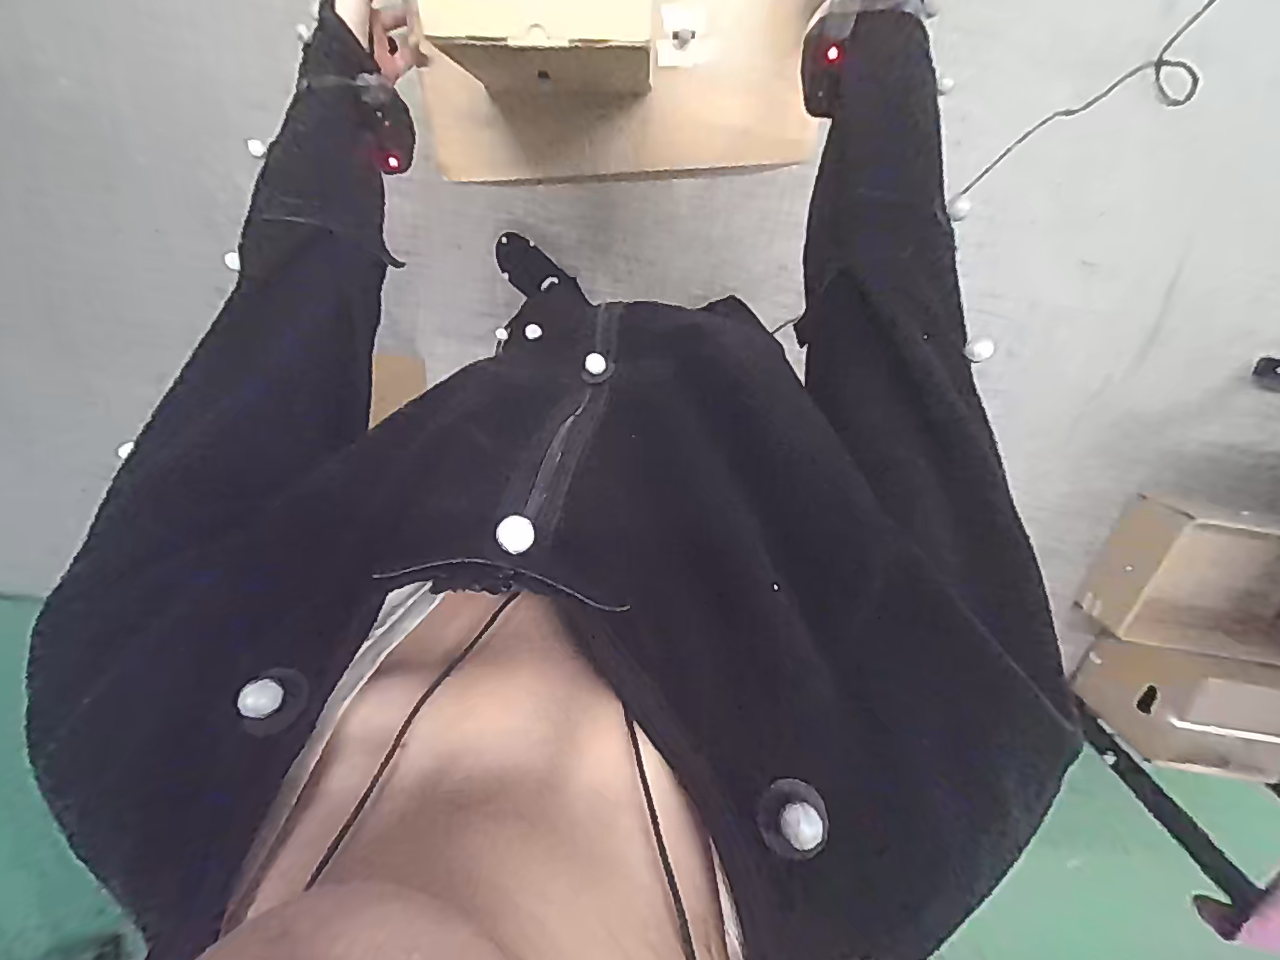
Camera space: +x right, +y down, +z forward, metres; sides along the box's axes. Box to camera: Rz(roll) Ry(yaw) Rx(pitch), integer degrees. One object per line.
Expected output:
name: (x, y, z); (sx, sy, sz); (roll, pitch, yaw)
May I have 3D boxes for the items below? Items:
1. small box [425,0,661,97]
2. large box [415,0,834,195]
small box: (-0.065, -0.420, 0.418); (0.168, 0.176, 0.179); (2, 117, 0)
large box: (-0.017, -0.526, 0.638); (0.408, 0.320, 0.320); (-2, 118, 1)
